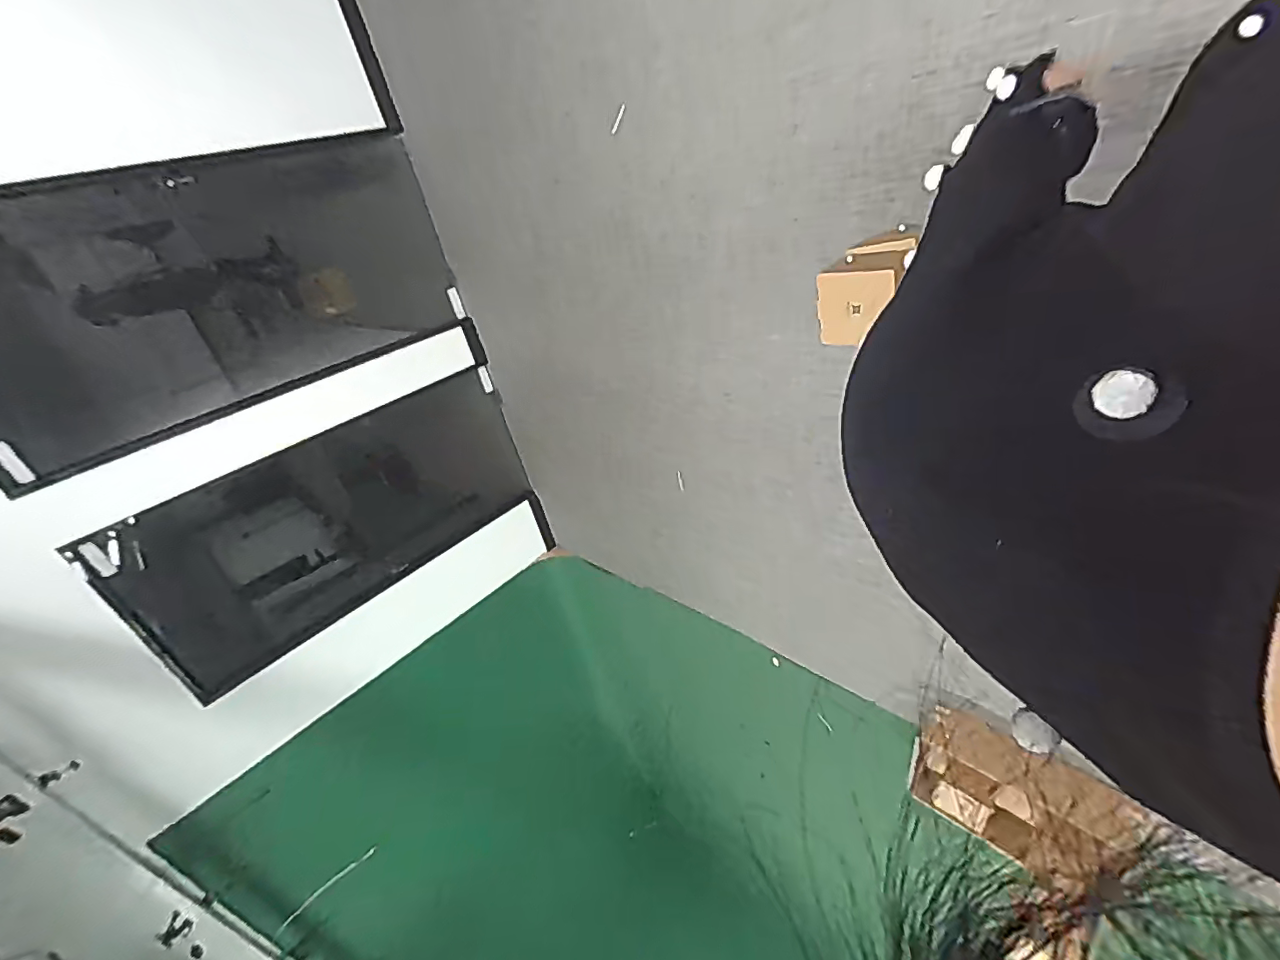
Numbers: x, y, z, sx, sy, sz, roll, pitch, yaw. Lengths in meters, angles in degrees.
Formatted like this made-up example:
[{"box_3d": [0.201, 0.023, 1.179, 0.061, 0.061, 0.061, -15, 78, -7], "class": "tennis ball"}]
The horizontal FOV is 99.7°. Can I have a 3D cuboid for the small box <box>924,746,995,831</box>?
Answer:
[{"box_3d": [1.174, 1.126, 1.984, 0.168, 0.176, 0.179, 23, 135, 38], "class": "small box"}]

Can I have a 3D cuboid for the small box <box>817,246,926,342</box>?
[{"box_3d": [0.528, -0.426, 1.237, 0.179, 0.176, 0.168, 16, 131, 43], "class": "small box"}]

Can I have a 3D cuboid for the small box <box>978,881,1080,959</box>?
[{"box_3d": [1.147, 1.324, 1.590, 0.168, 0.176, 0.179, 38, 144, 26], "class": "small box"}]

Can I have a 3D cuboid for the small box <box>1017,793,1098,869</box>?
[{"box_3d": [1.374, 1.185, 1.779, 0.168, 0.176, 0.179, 18, 131, 43], "class": "small box"}]

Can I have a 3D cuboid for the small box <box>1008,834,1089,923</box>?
[{"box_3d": [1.262, 1.255, 1.680, 0.168, 0.176, 0.179, 20, 134, 43], "class": "small box"}]
